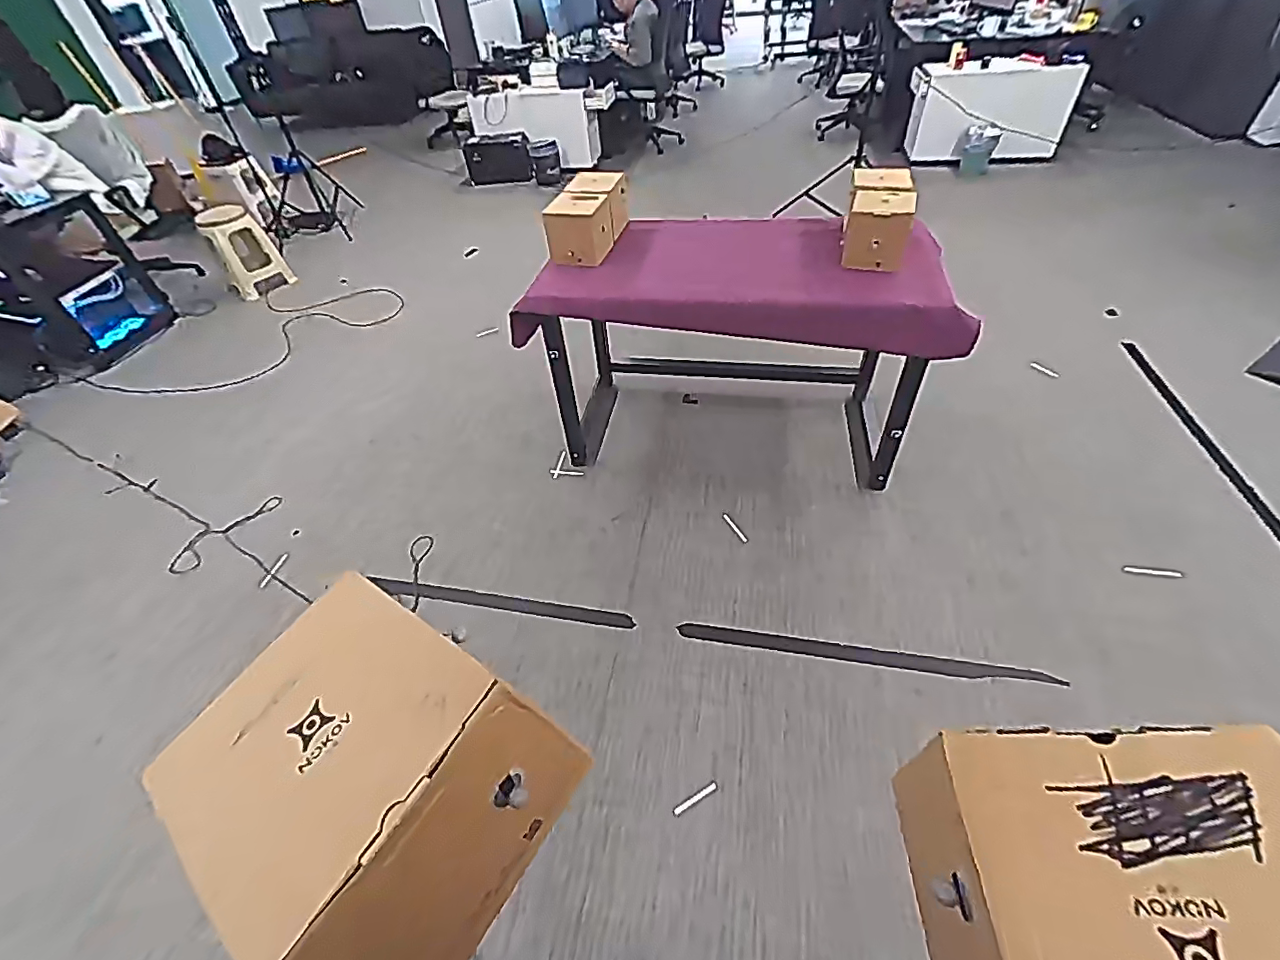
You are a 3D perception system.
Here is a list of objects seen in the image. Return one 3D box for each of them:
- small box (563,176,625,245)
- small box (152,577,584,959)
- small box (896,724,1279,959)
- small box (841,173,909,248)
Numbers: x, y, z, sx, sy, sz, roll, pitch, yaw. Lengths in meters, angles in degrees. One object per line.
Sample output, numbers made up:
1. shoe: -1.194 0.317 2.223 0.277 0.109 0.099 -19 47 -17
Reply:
1. small box: -0.154 -0.945 1.897 0.168 0.176 0.179 8 48 13
2. small box: -0.167 0.204 0.379 0.179 0.176 0.168 18 57 33
3. small box: 0.264 0.253 0.310 0.168 0.176 0.179 -6 53 10
4. small box: 0.746 -0.864 1.733 0.168 0.176 0.179 8 46 12
